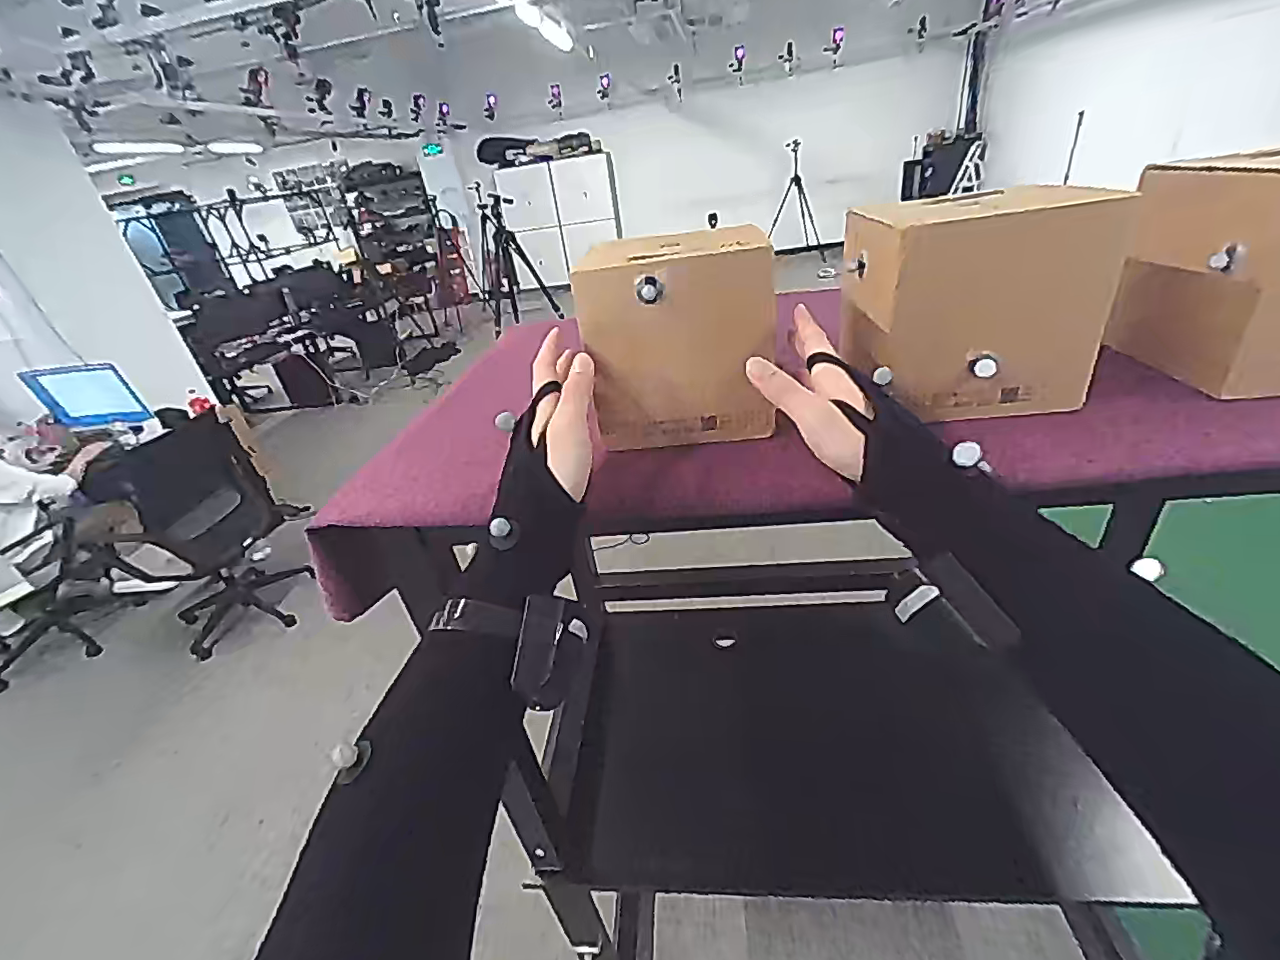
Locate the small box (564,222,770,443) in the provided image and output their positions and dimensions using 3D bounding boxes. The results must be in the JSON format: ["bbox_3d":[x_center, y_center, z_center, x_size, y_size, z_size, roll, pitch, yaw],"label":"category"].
[{"bbox_3d":[0.036,-0.149,0.536,0.168,0.176,0.179,-5,29,8],"label":"small box"}]

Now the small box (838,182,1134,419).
[{"bbox_3d":[0.286,-0.169,0.501,0.168,0.176,0.179,-4,30,9],"label":"small box"}]
